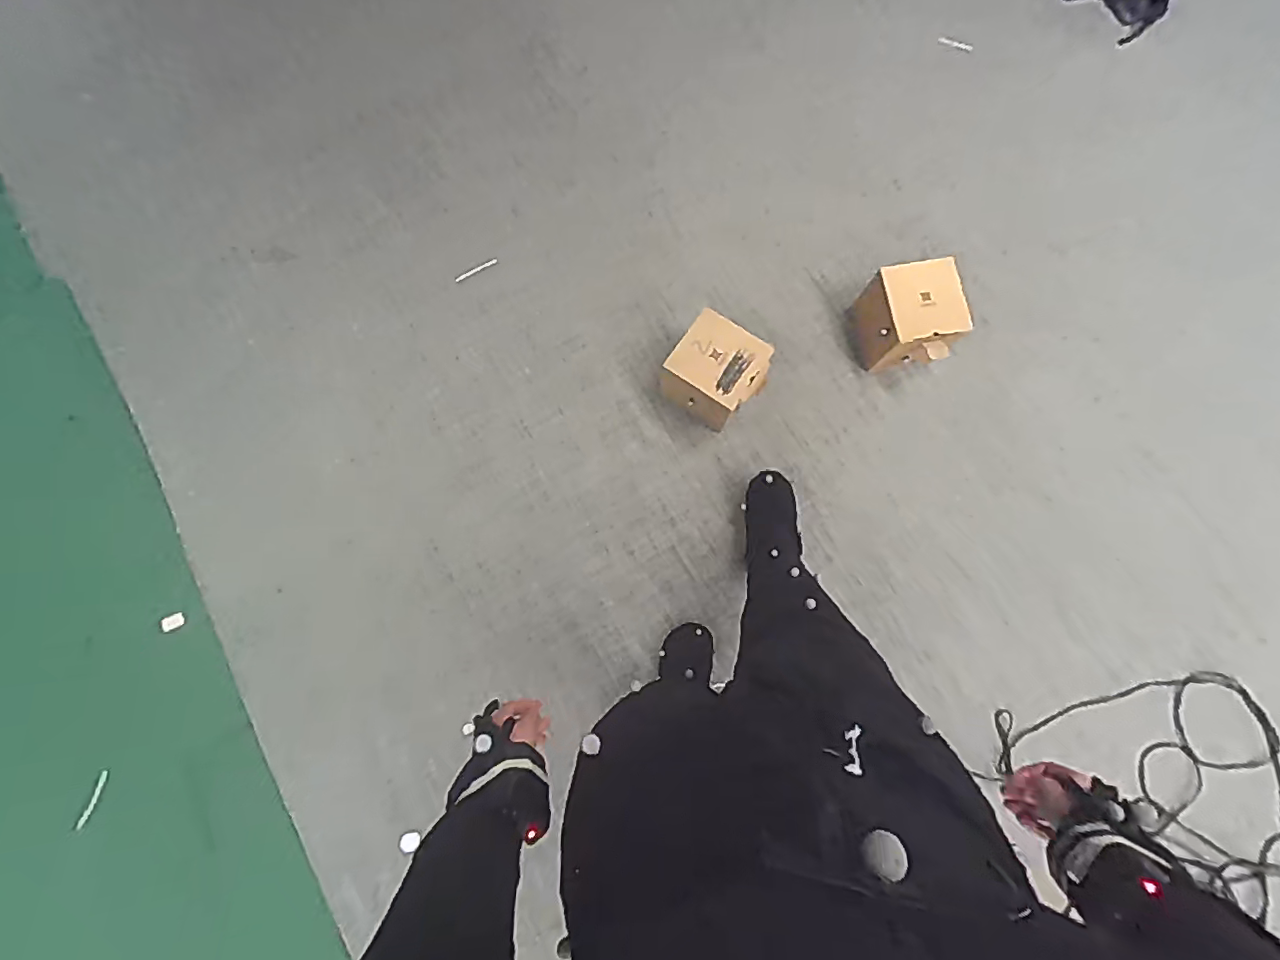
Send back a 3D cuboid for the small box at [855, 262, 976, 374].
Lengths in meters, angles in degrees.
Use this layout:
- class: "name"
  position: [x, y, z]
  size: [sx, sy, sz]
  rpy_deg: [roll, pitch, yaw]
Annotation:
- class: "small box"
  position: [0.610, -0.360, 1.221]
  size: [0.168, 0.176, 0.179]
  rpy_deg: [-9, 80, -2]
